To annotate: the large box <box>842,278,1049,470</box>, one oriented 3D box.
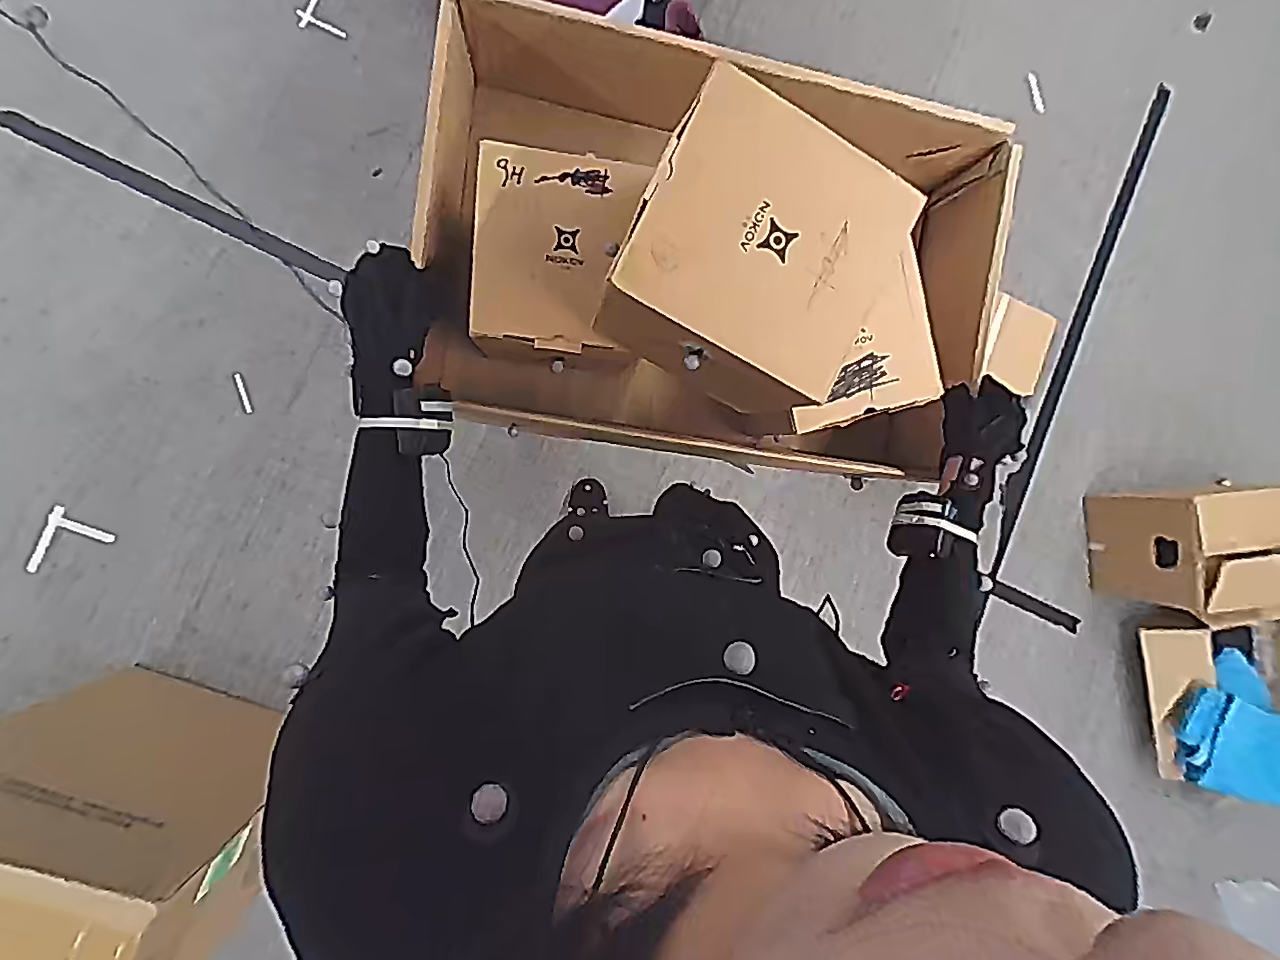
[{"bbox_3d":[0.824,-0.268,1.500,0.320,0.320,0.408,21,86,-6],"label":"large box"}]
